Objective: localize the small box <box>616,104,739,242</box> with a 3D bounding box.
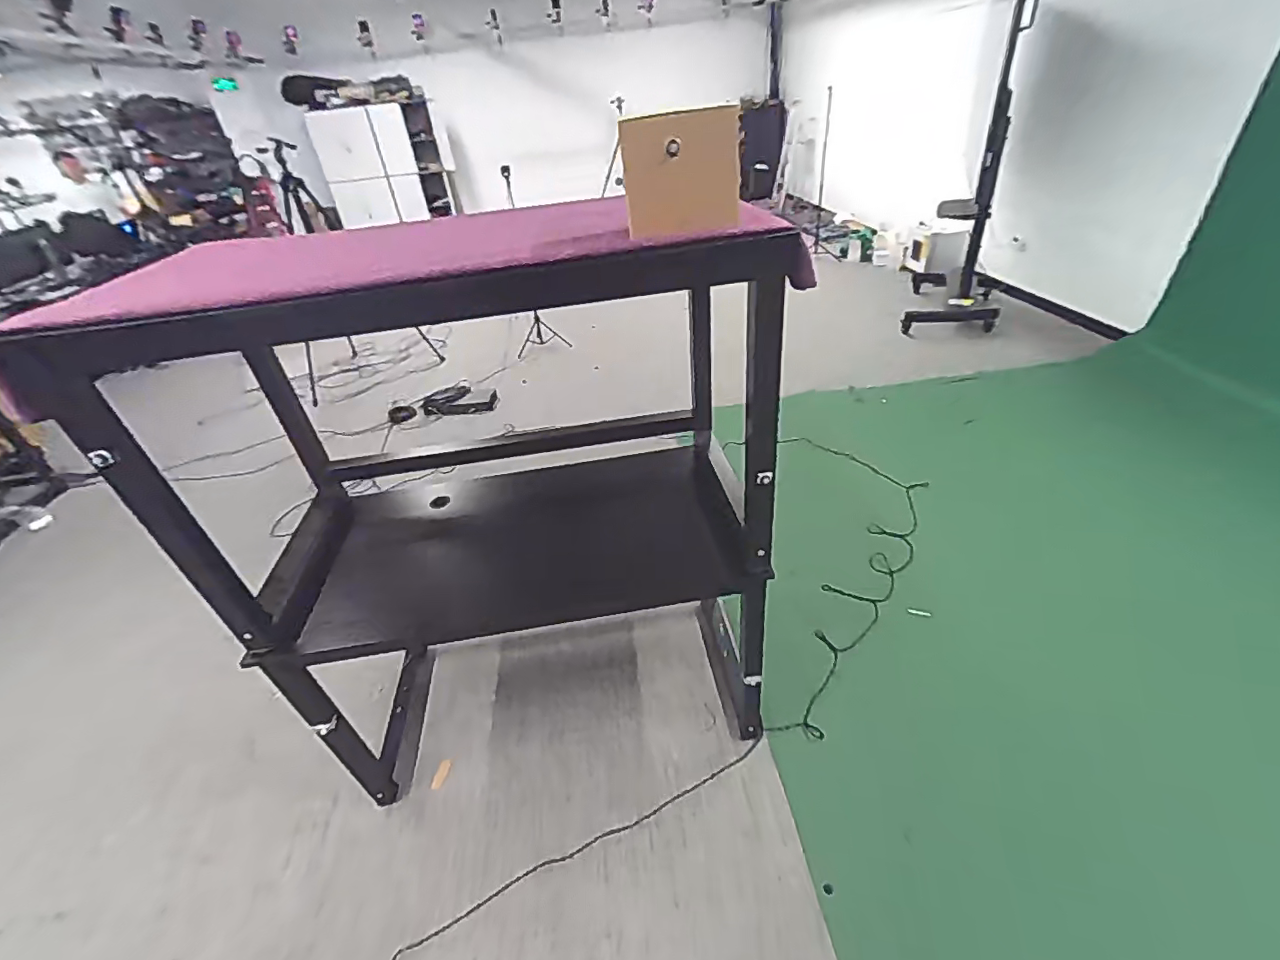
[{"bbox_3d":[0.060,-0.497,0.877,0.179,0.176,0.168,-7,36,2],"label":"small box"}]
